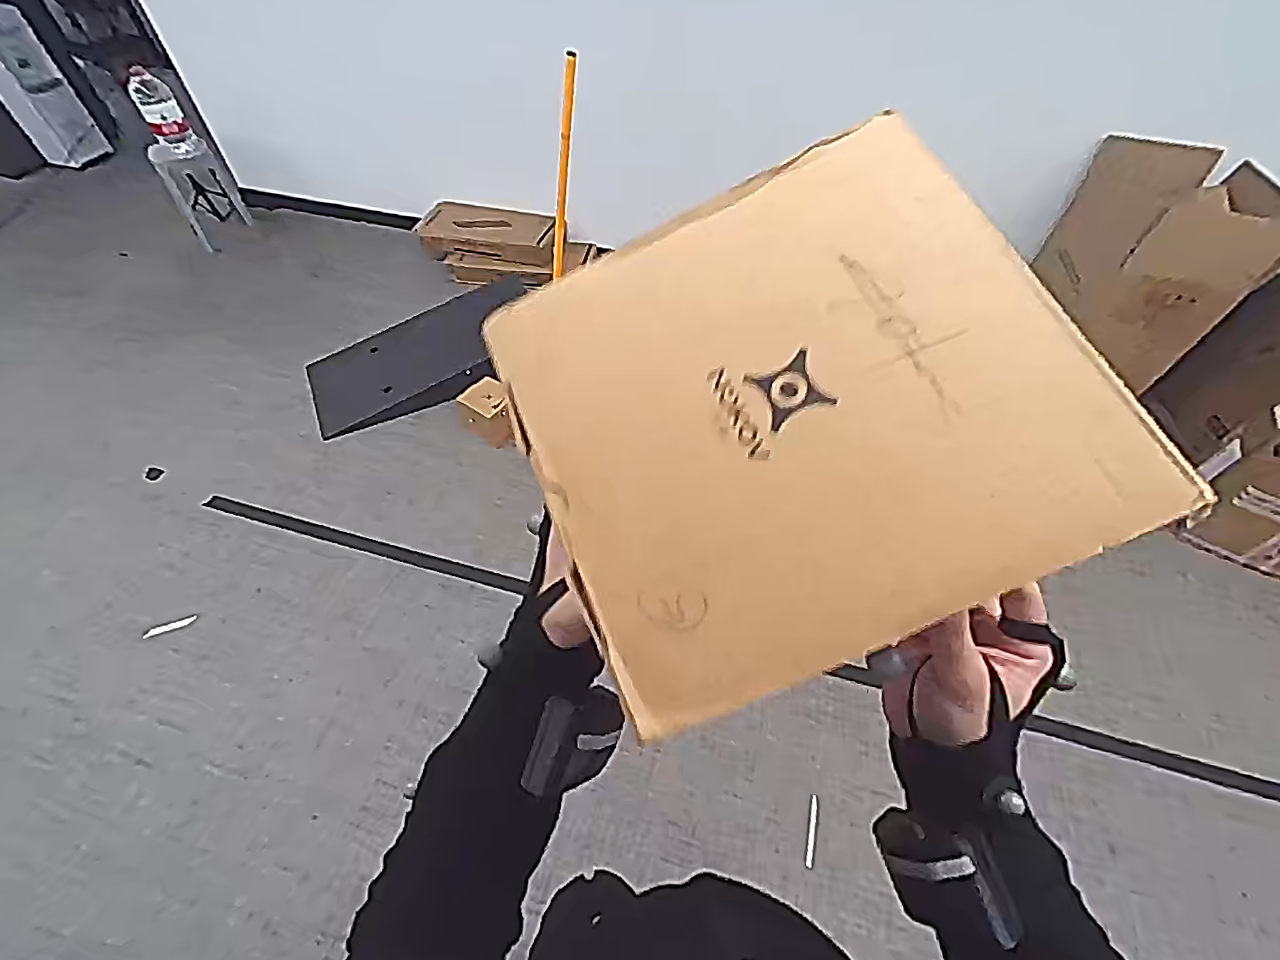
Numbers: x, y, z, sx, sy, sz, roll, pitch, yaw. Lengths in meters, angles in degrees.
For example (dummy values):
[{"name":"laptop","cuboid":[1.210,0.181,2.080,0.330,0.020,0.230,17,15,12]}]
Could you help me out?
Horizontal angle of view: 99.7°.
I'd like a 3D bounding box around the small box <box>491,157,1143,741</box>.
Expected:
[{"name":"small box","cuboid":[0.062,0.000,0.270,0.179,0.176,0.168,-27,72,5]}]
